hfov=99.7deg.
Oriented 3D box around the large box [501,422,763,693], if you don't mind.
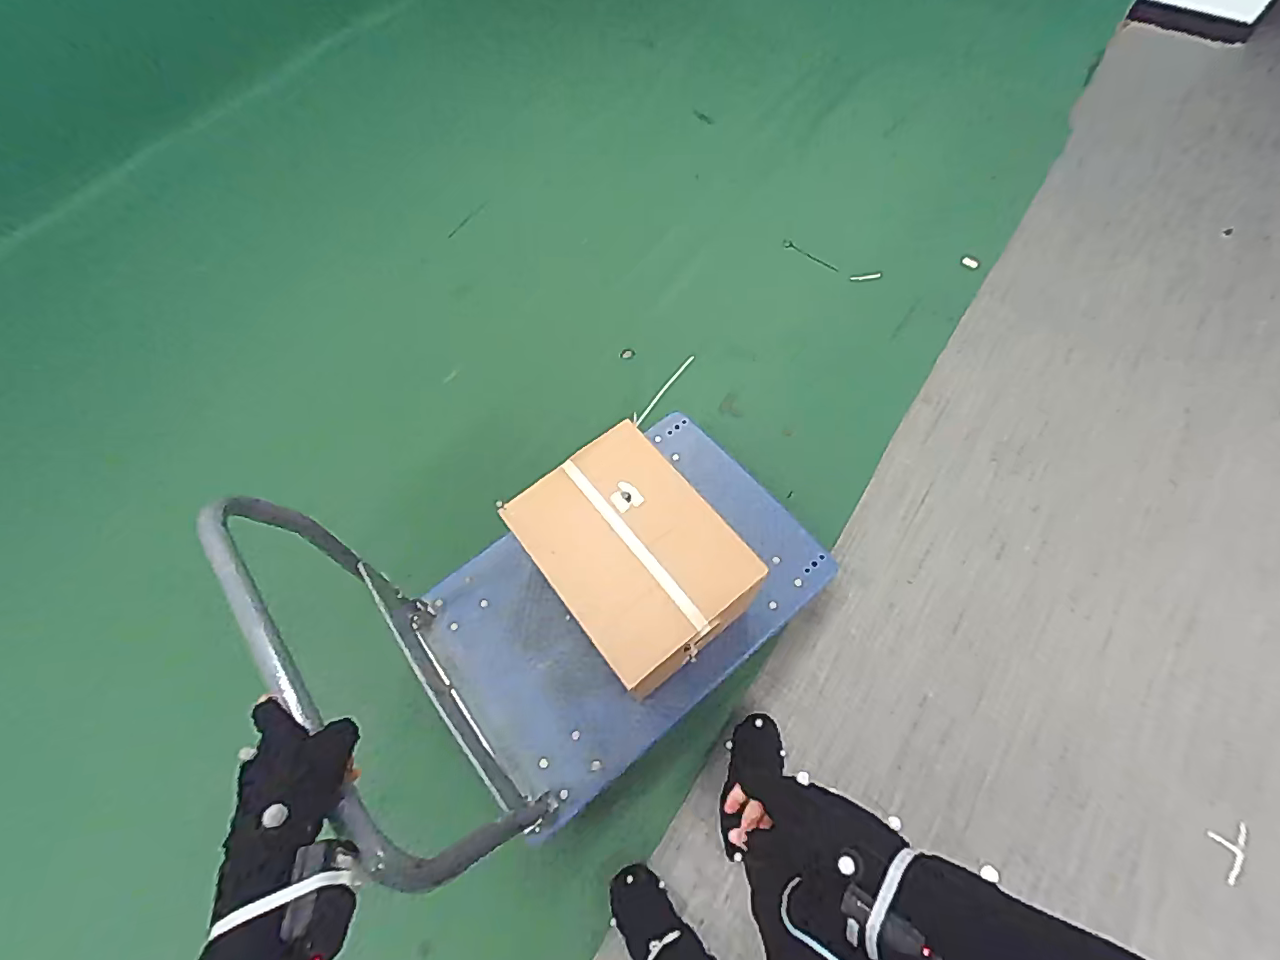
[{"bbox_3d":[-0.011,0.168,1.114,0.320,0.320,0.408,-37,67,-13],"label":"large box"}]
